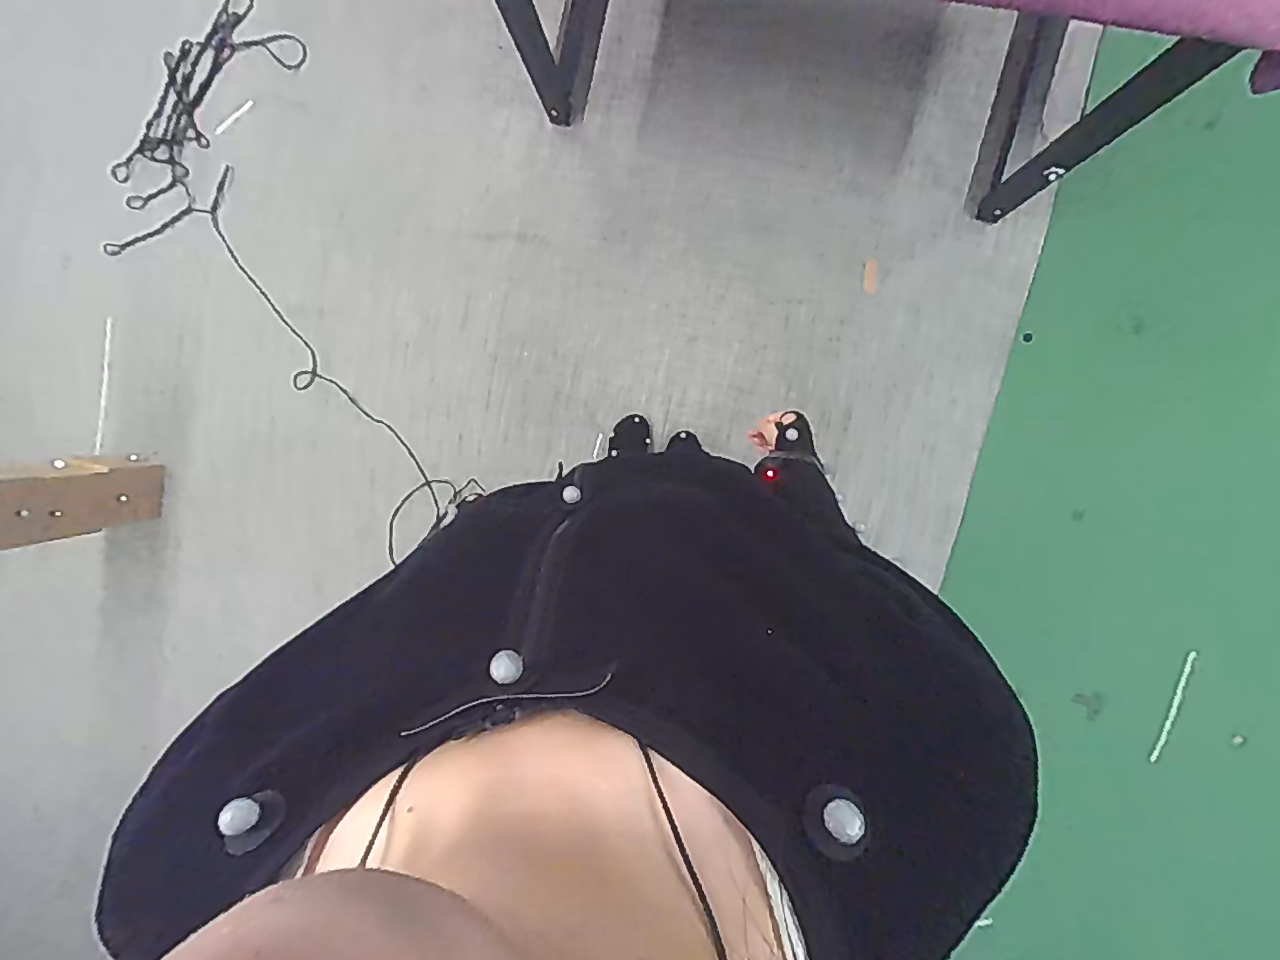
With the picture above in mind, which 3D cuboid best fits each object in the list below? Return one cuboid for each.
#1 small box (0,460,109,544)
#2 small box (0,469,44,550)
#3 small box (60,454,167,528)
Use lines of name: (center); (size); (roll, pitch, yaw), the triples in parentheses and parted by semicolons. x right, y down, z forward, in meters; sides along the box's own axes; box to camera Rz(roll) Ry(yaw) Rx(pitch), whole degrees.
small box: (-1.559, 0.051, 1.423); (0.168, 0.176, 0.179); (12, 96, 3)
small box: (-1.560, 0.066, 1.260); (0.168, 0.176, 0.179); (10, 96, 4)
small box: (-1.541, 0.026, 1.584); (0.168, 0.176, 0.179); (12, 96, 4)
